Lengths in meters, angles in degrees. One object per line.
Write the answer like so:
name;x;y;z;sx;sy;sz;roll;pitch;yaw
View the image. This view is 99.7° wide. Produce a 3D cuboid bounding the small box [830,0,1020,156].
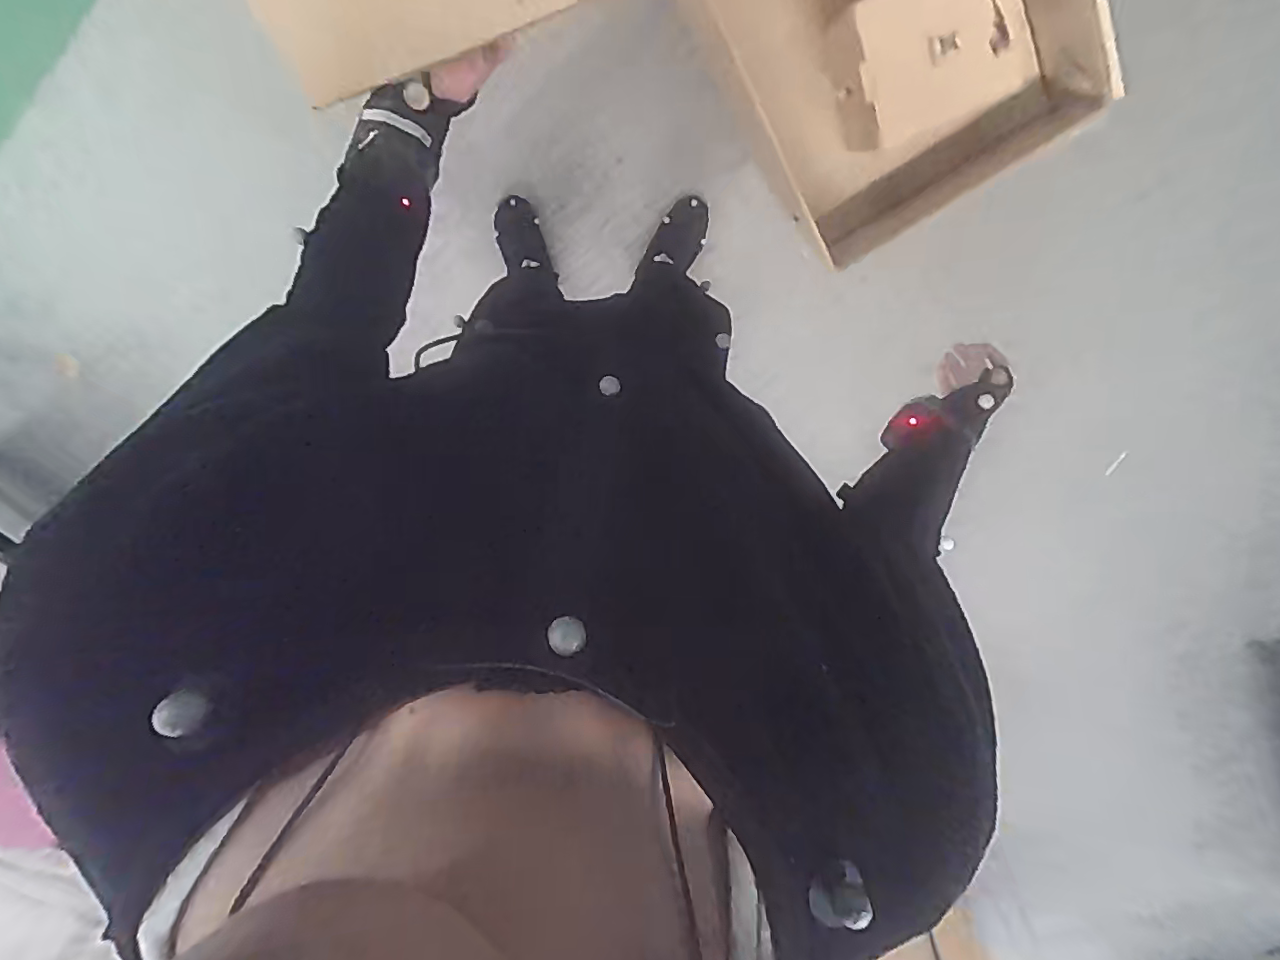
small box;0.367;-0.555;0.725;0.179;0.176;0.168;-18;117;14
